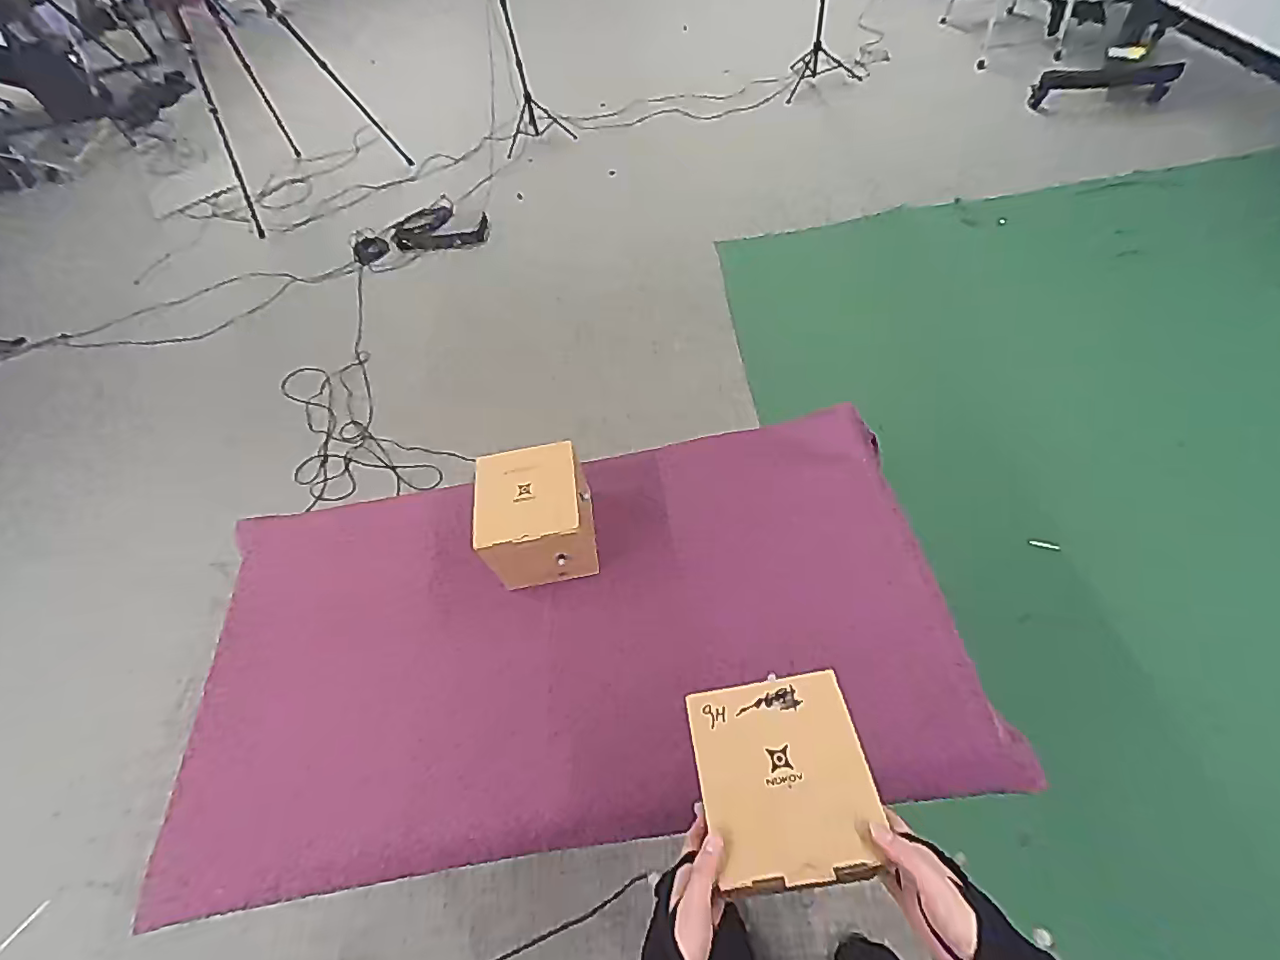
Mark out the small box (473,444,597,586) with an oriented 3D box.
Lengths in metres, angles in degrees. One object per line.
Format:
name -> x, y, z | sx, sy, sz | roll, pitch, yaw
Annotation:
small box -> -0.174, 0.069, 0.925 | 0.168, 0.176, 0.179 | -11, 56, 1

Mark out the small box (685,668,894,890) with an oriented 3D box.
small box -> 0.153, 0.333, 0.595 | 0.168, 0.176, 0.179 | -12, 49, 3
